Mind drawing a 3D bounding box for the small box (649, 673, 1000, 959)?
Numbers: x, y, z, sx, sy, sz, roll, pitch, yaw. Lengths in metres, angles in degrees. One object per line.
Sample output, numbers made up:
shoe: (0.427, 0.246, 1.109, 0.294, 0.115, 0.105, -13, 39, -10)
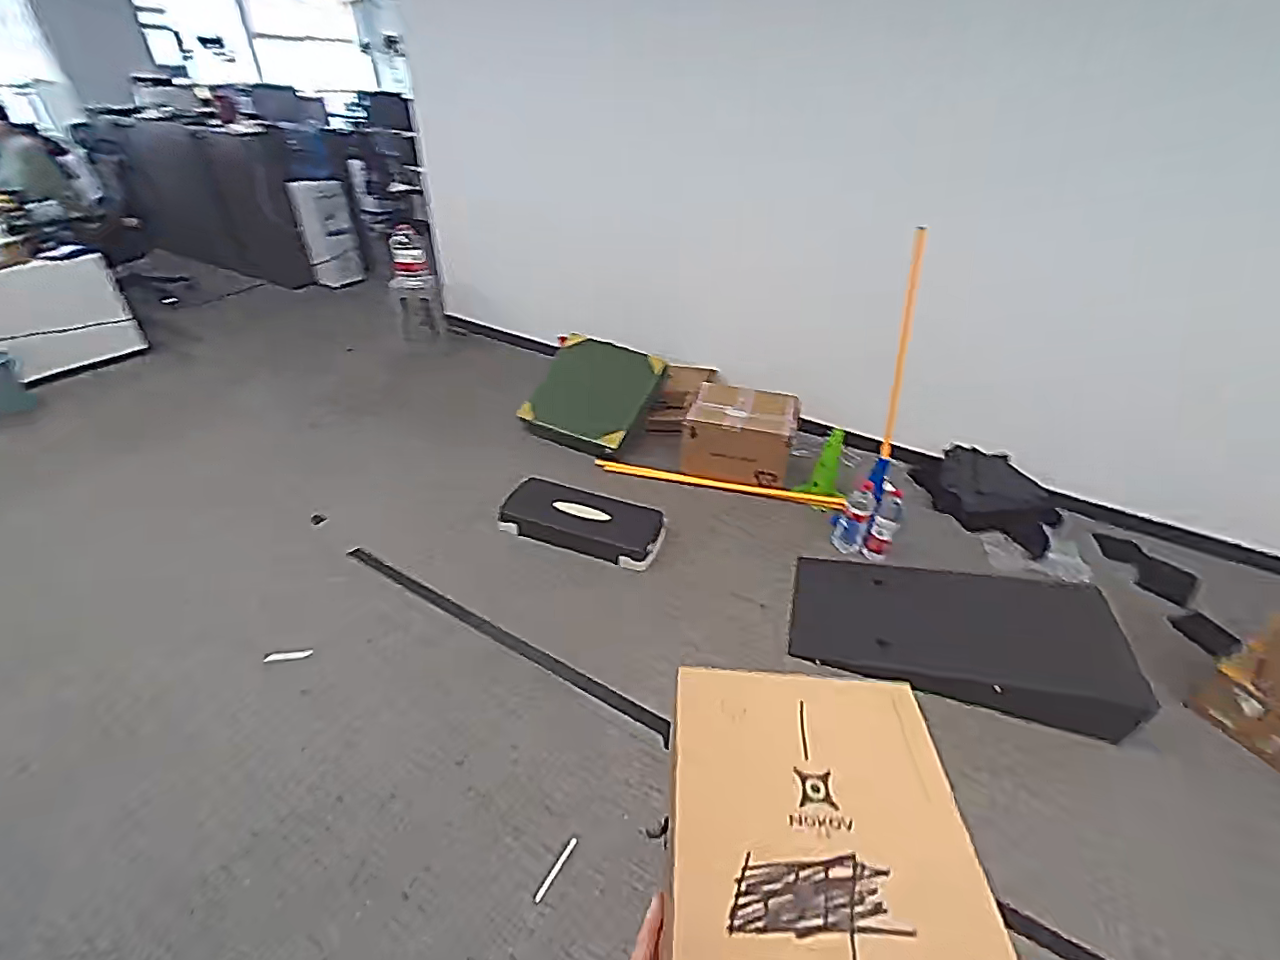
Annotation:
small box: (0.093, 0.256, 0.353, 0.168, 0.176, 0.179, 4, 34, 2)
